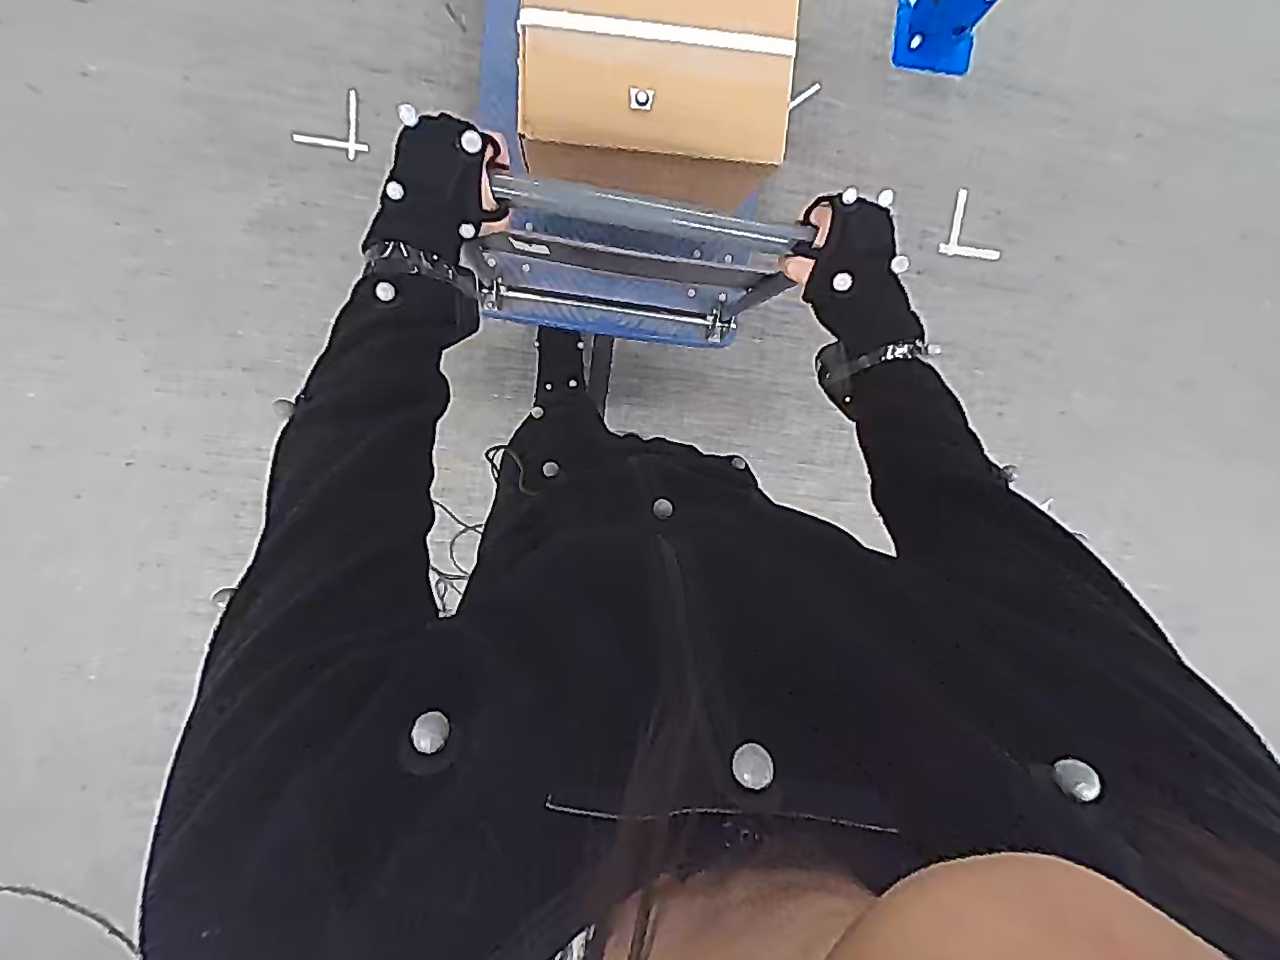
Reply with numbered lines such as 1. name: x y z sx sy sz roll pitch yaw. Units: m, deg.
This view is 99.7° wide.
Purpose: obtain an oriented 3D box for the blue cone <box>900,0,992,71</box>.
1. blue cone: 0.732 -1.053 1.124 0.193 0.380 0.192 2 101 -8
